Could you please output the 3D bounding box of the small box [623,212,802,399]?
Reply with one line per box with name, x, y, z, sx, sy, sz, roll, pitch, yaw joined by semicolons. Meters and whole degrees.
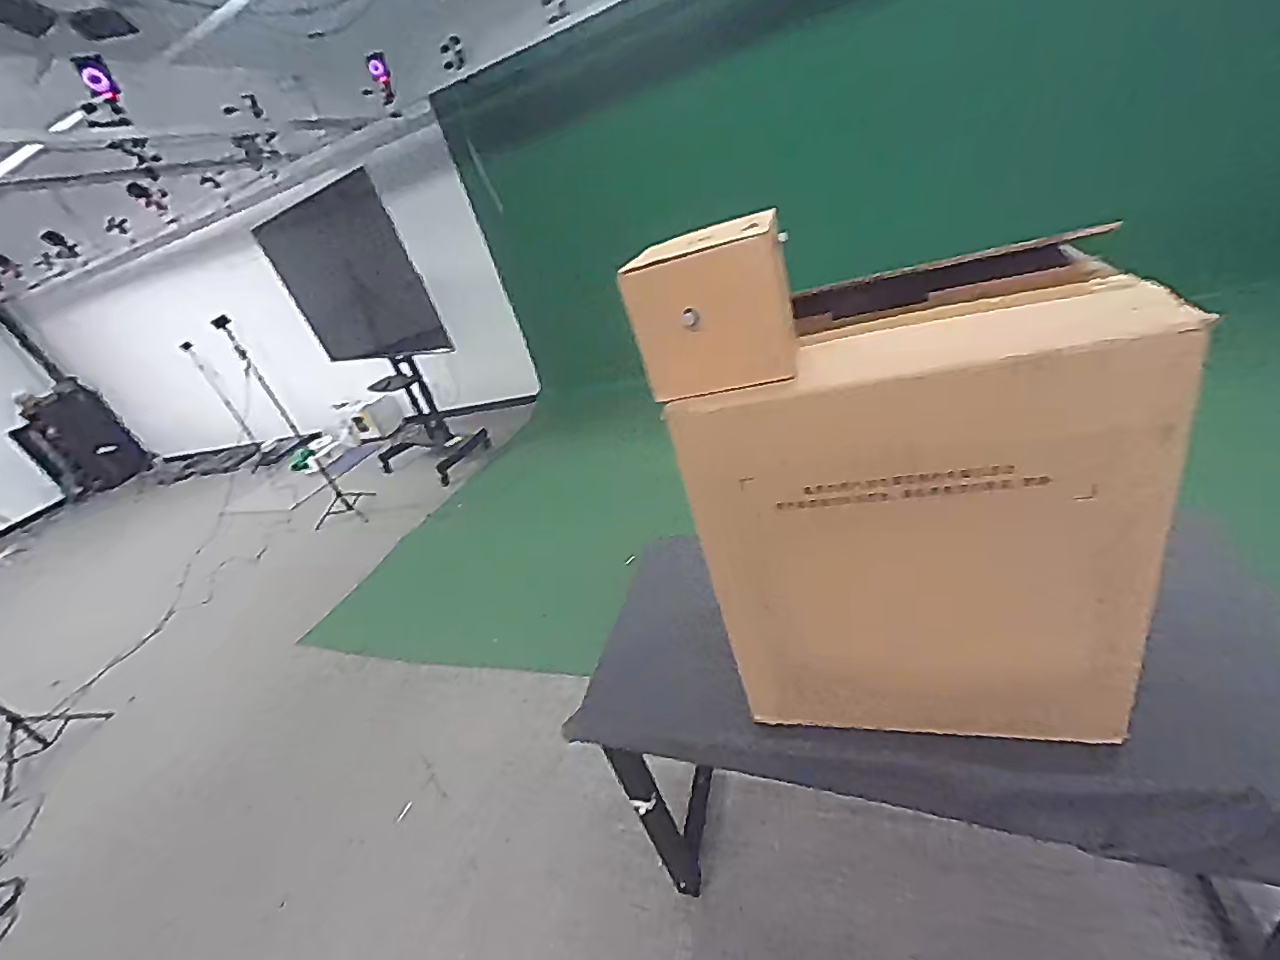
small box;0.103;-0.219;0.693;0.179;0.176;0.168;-8;31;22
